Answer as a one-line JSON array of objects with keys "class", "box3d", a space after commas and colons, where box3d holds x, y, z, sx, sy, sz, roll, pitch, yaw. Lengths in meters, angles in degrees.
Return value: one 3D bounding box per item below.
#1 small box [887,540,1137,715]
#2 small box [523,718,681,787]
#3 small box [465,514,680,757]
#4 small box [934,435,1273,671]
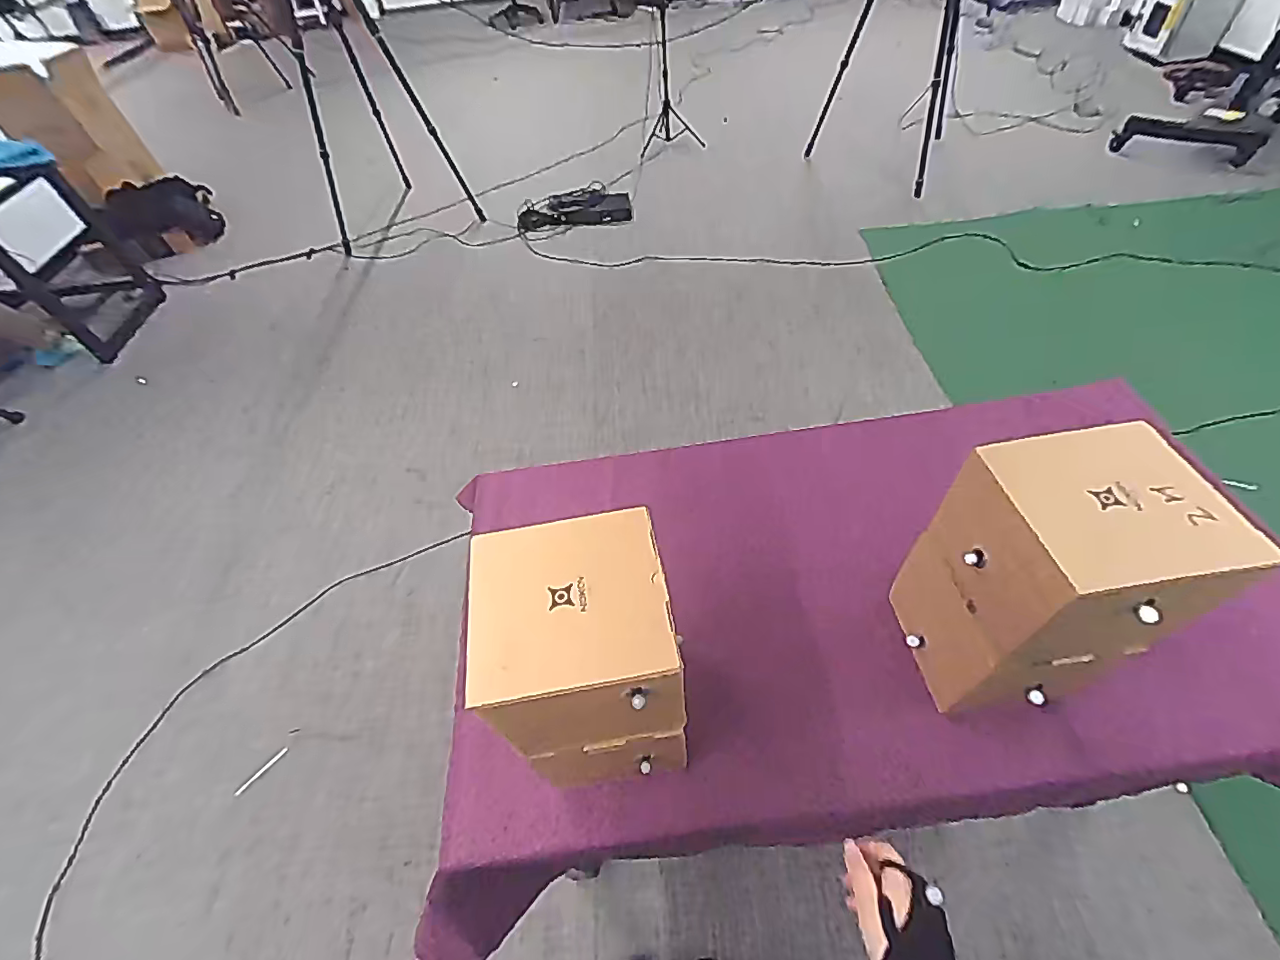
[{"class": "small box", "box3d": [0.440, 0.183, 0.679, 0.168, 0.176, 0.179, -7, 51, 0]}, {"class": "small box", "box3d": [-0.043, 0.262, 0.665, 0.168, 0.176, 0.179, -8, 50, -2]}, {"class": "small box", "box3d": [-0.059, 0.159, 0.539, 0.179, 0.176, 0.168, -9, 51, -4]}, {"class": "small box", "box3d": [0.430, 0.079, 0.550, 0.179, 0.176, 0.168, -8, 51, -1]}]
